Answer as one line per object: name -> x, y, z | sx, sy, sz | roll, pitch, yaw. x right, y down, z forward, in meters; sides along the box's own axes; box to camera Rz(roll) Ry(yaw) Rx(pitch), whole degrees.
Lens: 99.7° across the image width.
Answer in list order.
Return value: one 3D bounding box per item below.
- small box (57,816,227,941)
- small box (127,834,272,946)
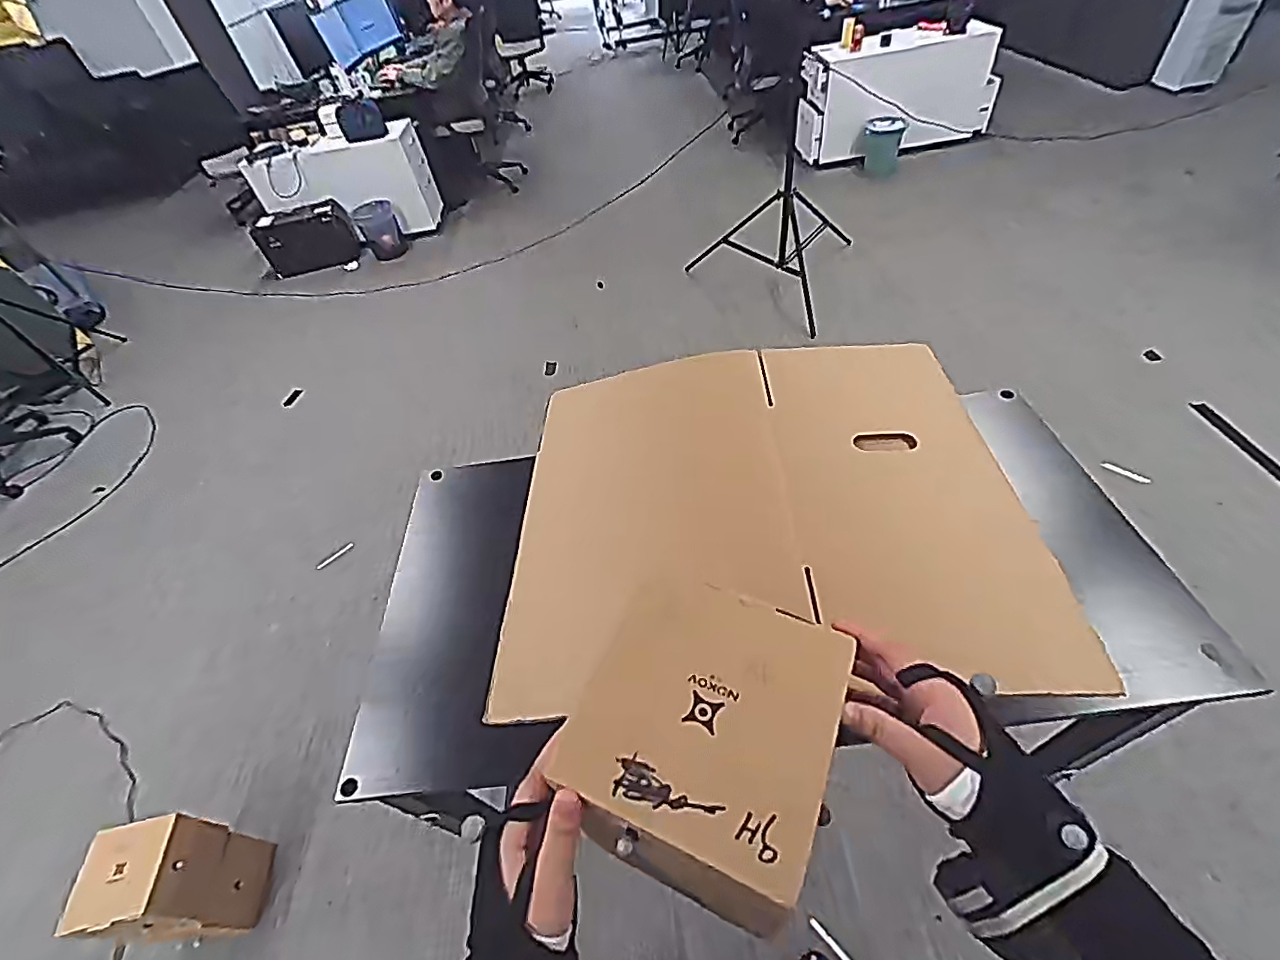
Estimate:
small box -> -1.012, 0.829, 1.122 | 0.168, 0.176, 0.179 | -13, 47, -3
small box -> -0.990, 0.940, 1.238 | 0.168, 0.176, 0.179 | -11, 48, 0
